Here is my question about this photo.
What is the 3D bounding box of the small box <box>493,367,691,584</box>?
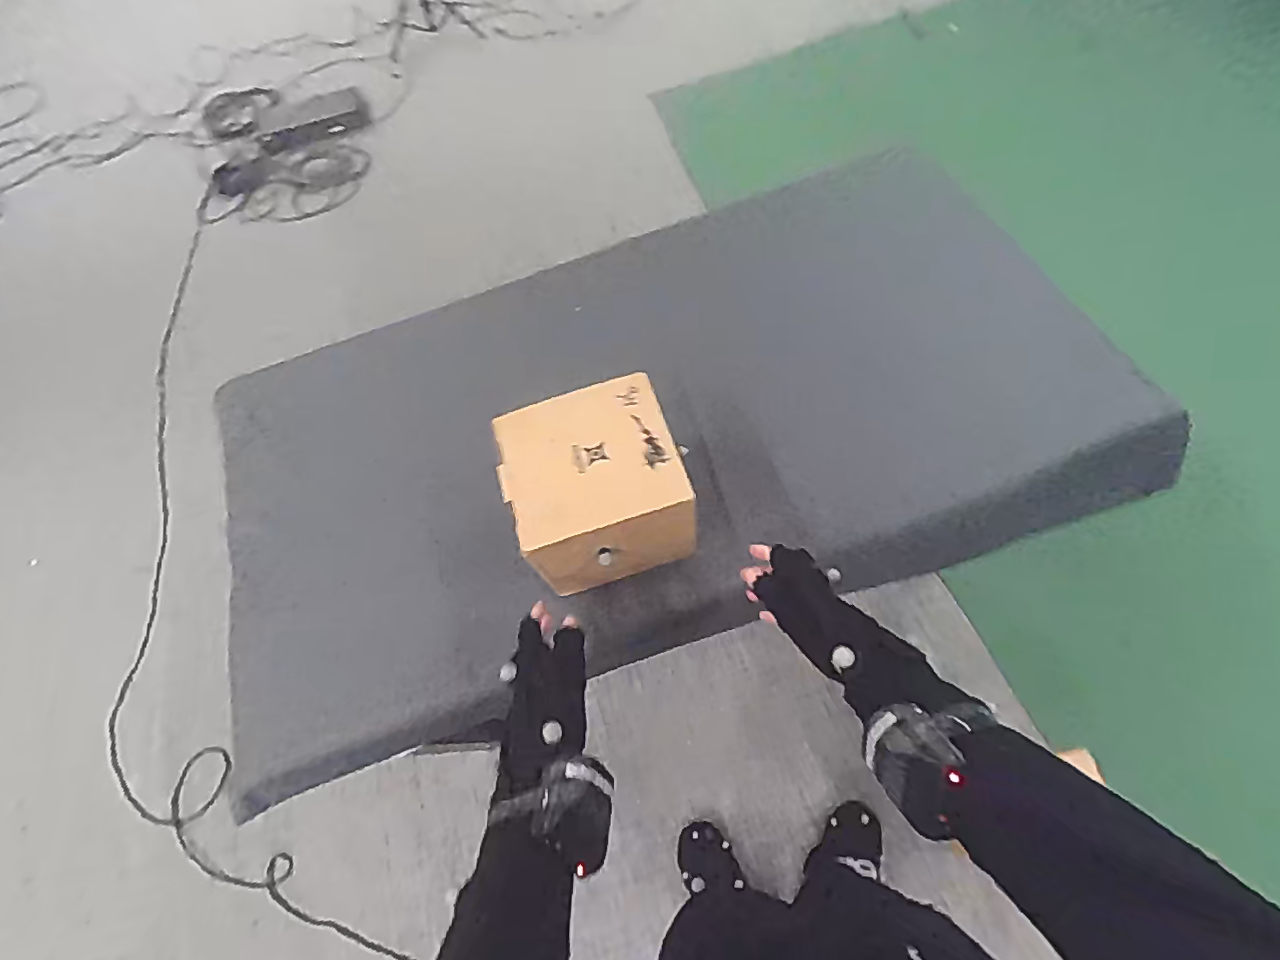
[{"bbox_3d":[-0.048,0.005,0.626,0.179,0.176,0.168,-18,64,-2],"label":"small box"}]

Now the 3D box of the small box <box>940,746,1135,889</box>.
[{"bbox_3d":[0.656,0.559,0.919,0.179,0.176,0.168,-14,63,0],"label":"small box"}]

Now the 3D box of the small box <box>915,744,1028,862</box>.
[{"bbox_3d":[0.683,0.627,1.067,0.179,0.176,0.168,-14,63,1],"label":"small box"}]
